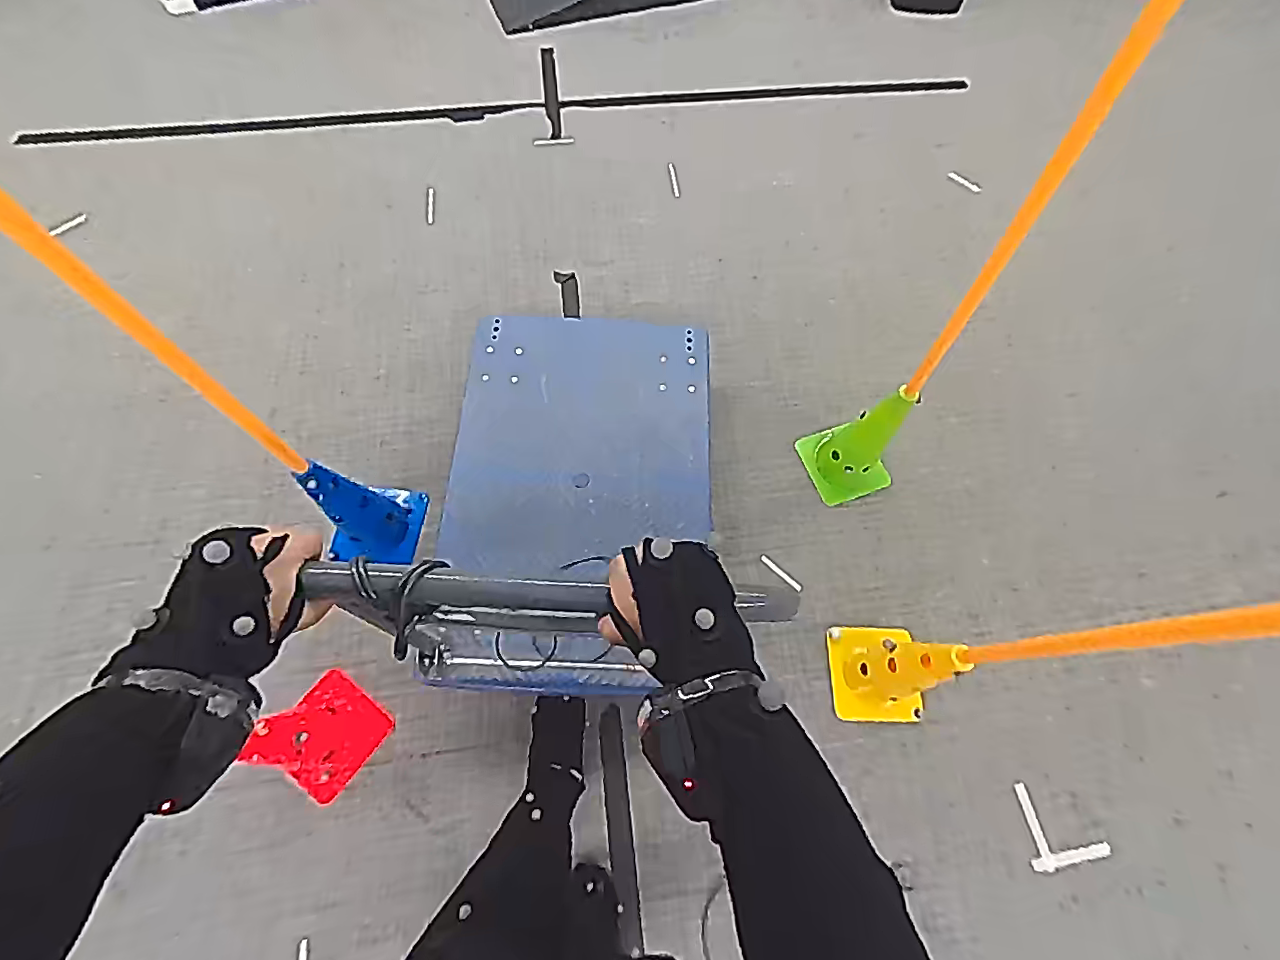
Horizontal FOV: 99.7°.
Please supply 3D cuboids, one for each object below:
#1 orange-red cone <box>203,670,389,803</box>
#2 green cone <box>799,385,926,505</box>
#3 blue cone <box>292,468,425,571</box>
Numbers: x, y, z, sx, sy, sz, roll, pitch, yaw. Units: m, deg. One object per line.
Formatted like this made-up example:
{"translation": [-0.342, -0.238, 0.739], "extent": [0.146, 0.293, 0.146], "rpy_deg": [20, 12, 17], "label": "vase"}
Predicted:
{"translation": [-0.641, 0.457, 0.963], "extent": [0.198, 0.360, 0.199], "rpy_deg": [37, 69, 12], "label": "orange-red cone"}
{"translation": [0.546, -0.112, 1.257], "extent": [0.200, 0.368, 0.202], "rpy_deg": [-19, 70, -10], "label": "green cone"}
{"translation": [-0.619, 0.056, 1.151], "extent": [0.193, 0.380, 0.192], "rpy_deg": [8, 68, 1], "label": "blue cone"}
